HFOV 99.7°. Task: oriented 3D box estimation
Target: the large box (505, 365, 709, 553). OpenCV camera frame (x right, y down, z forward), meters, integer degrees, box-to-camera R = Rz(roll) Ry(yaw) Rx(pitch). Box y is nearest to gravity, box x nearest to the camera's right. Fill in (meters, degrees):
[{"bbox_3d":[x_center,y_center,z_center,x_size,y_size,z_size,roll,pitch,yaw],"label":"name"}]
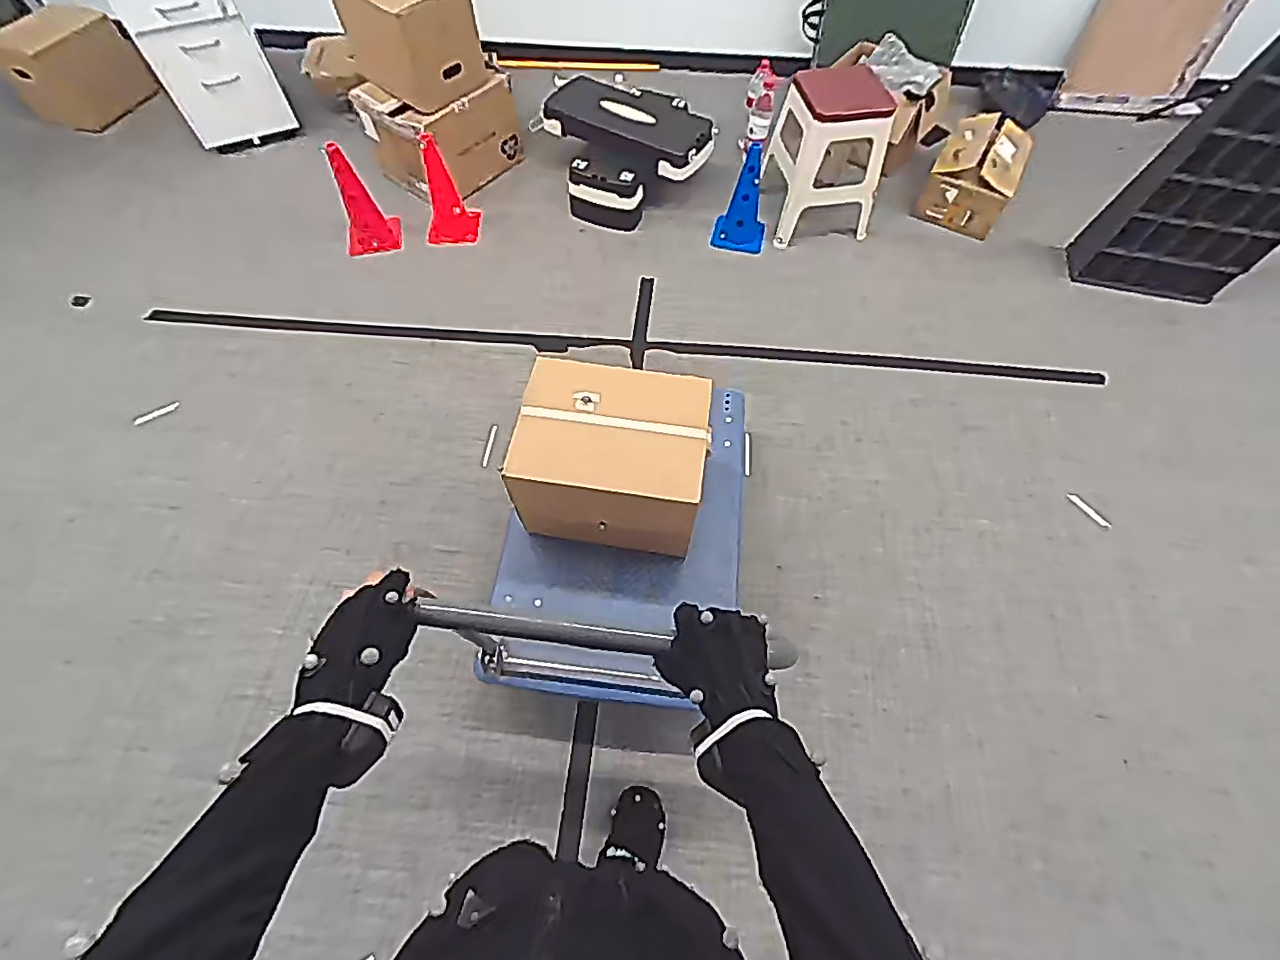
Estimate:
[{"bbox_3d":[-0.058,-0.038,1.290,0.408,0.320,0.320,8,62,4],"label":"large box"}]
